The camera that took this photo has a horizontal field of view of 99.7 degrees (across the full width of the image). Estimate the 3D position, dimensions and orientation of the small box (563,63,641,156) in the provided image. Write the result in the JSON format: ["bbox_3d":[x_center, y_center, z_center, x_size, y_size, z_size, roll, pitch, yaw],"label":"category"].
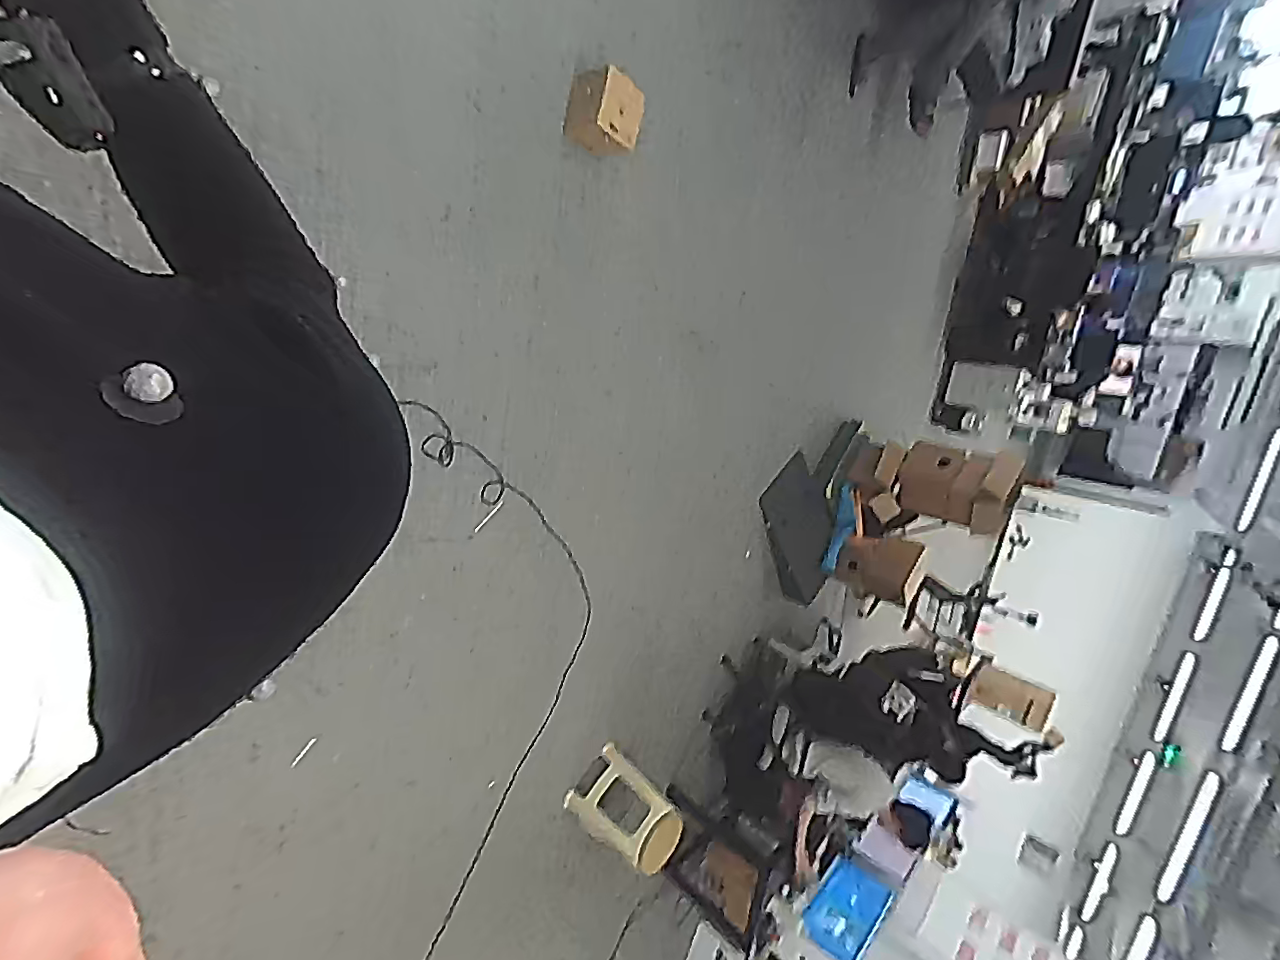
[{"bbox_3d":[-0.124,-1.166,1.716,0.168,0.176,0.179,6,99,-50],"label":"small box"}]
